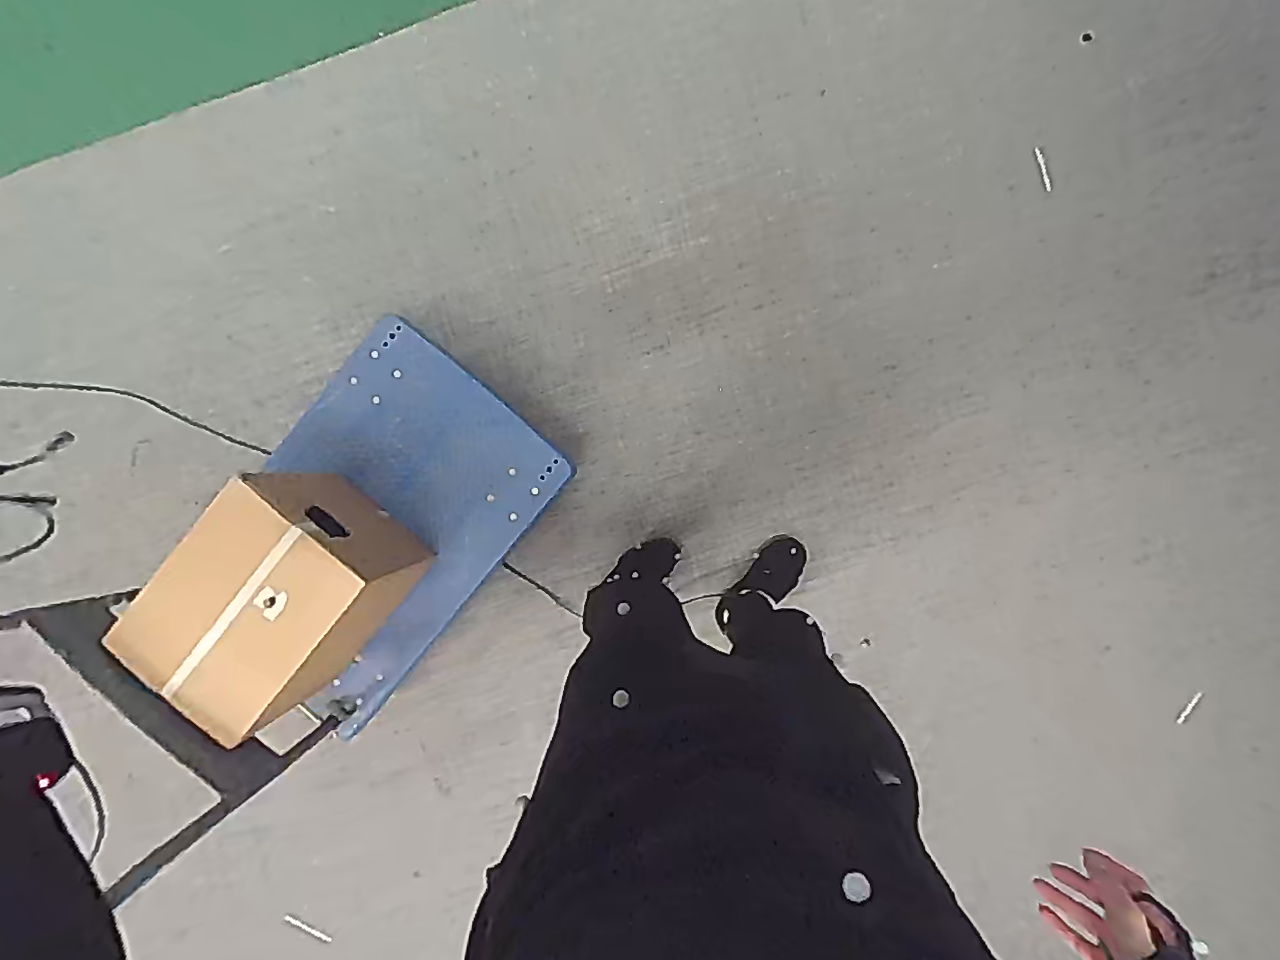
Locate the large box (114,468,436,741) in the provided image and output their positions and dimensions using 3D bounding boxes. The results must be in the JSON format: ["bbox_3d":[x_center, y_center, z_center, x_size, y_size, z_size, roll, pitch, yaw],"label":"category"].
[{"bbox_3d":[-0.717,0.226,1.122,0.320,0.320,0.408,40,92,1],"label":"large box"}]
